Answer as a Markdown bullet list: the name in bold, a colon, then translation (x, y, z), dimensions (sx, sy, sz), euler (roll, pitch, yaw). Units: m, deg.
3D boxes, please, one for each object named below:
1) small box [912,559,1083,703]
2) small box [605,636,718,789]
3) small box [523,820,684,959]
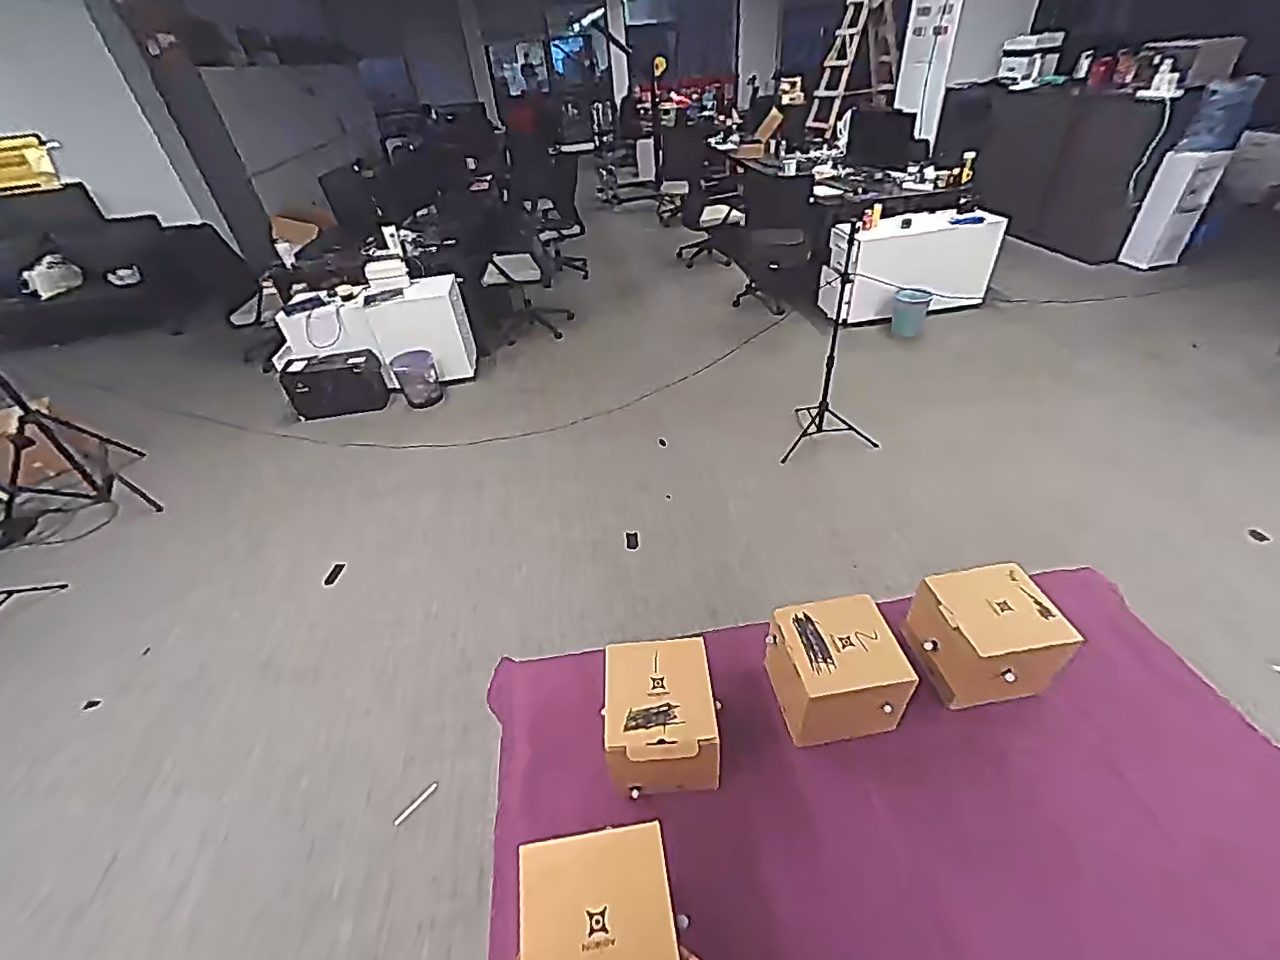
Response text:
- **small box**: translation (0.600, 0.266, 0.942), dimensions (0.179, 0.176, 0.168), euler (-9, 41, -3)
- **small box**: translation (0.035, 0.380, 0.876), dimensions (0.168, 0.176, 0.179), euler (-5, 39, 1)
- **small box**: translation (-0.043, 0.524, 0.628), dimensions (0.168, 0.176, 0.179), euler (-7, 49, -7)
